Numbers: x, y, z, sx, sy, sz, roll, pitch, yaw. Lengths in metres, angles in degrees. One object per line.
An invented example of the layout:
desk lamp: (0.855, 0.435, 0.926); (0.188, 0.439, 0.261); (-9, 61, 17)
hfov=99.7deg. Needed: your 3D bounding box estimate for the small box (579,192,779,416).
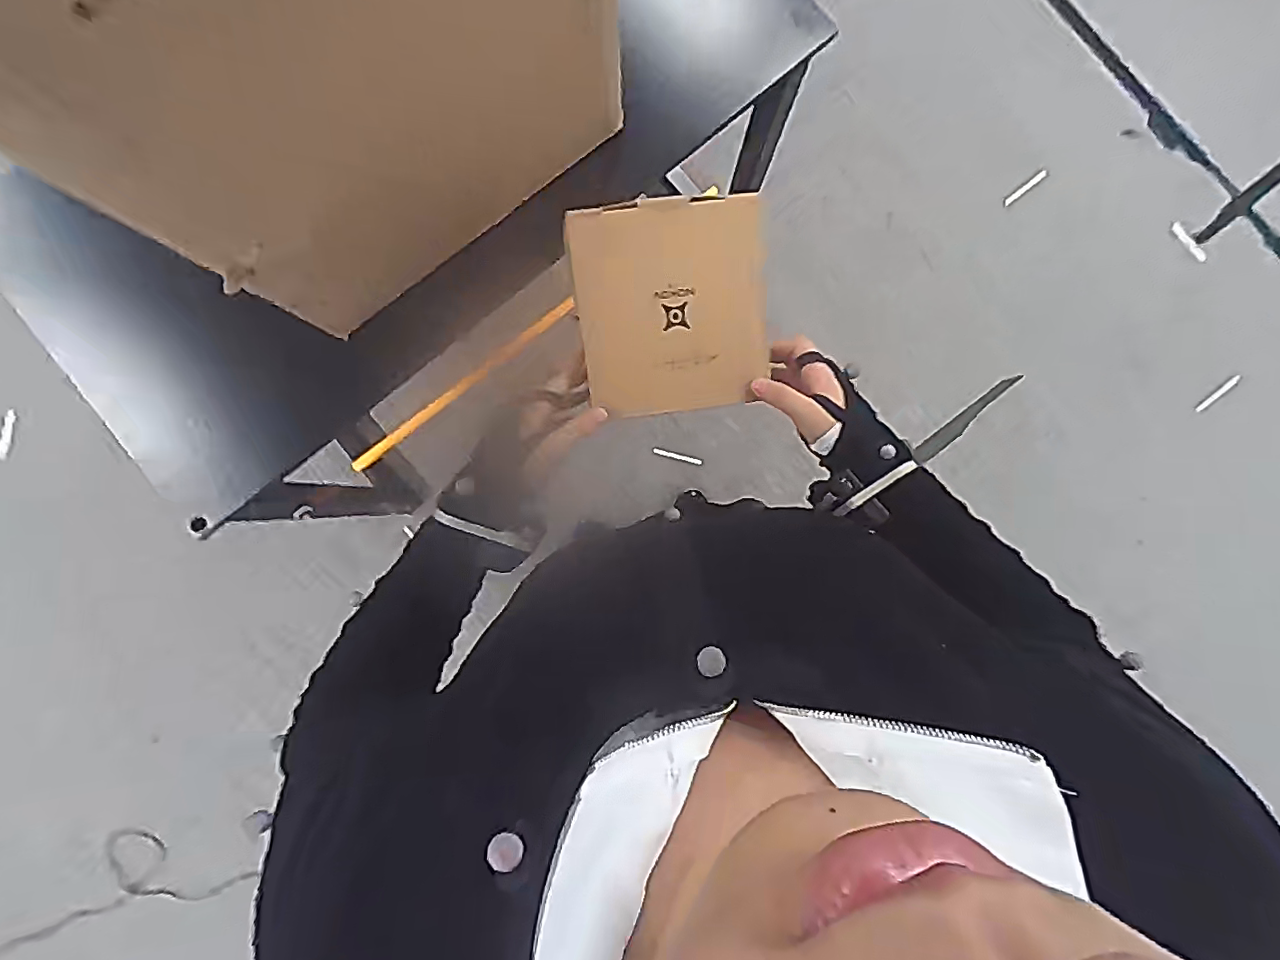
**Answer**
small box: (0.030, -0.169, 0.544); (0.168, 0.176, 0.179); (-7, 106, -4)
